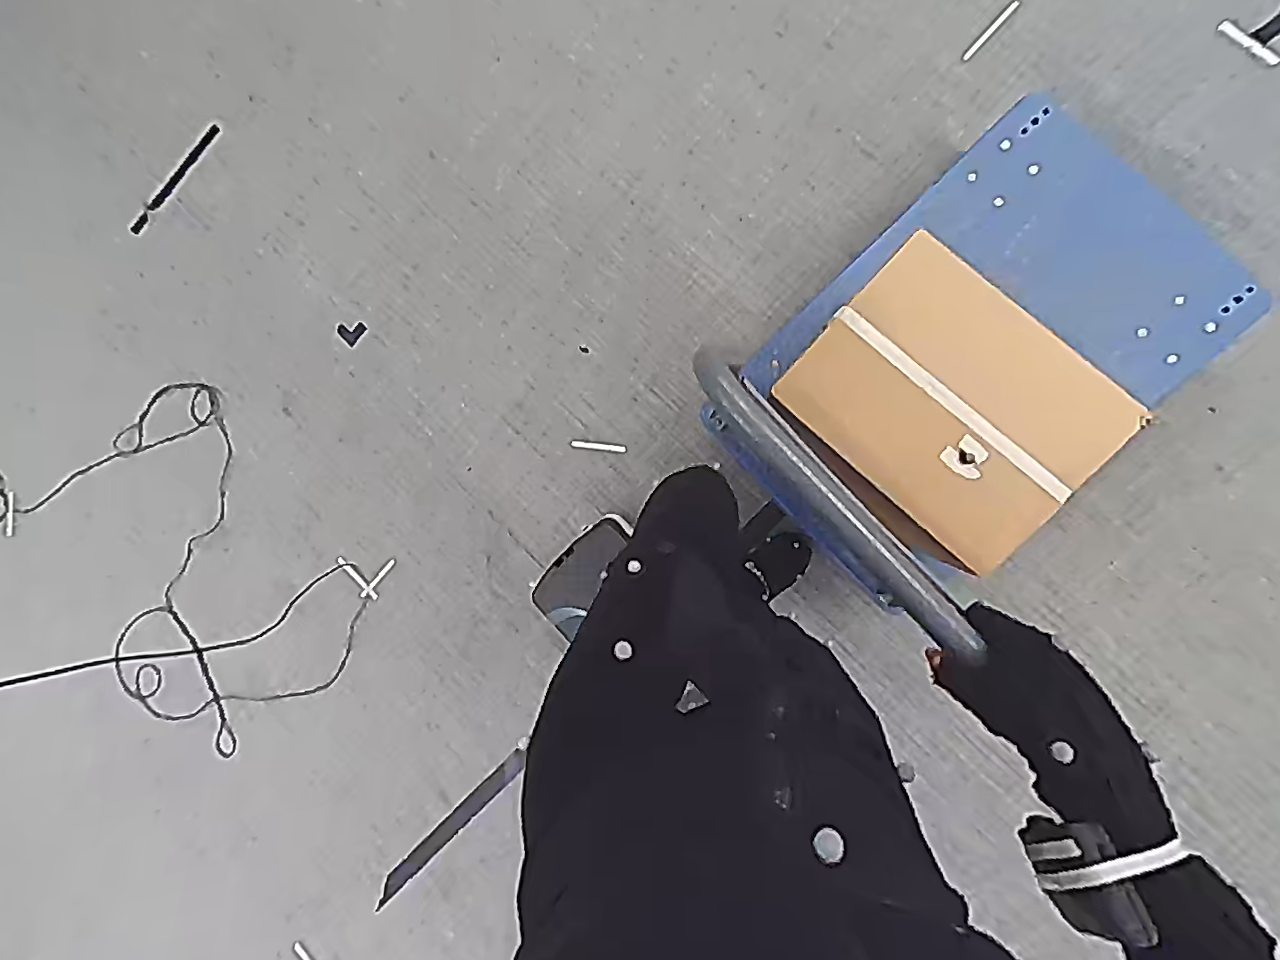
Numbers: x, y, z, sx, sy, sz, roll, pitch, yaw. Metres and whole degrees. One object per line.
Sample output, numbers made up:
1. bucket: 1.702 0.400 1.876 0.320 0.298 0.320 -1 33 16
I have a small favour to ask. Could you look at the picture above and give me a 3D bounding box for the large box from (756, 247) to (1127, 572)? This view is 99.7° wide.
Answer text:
1. large box: 0.459 -0.107 0.939 0.408 0.320 0.320 43 97 6
